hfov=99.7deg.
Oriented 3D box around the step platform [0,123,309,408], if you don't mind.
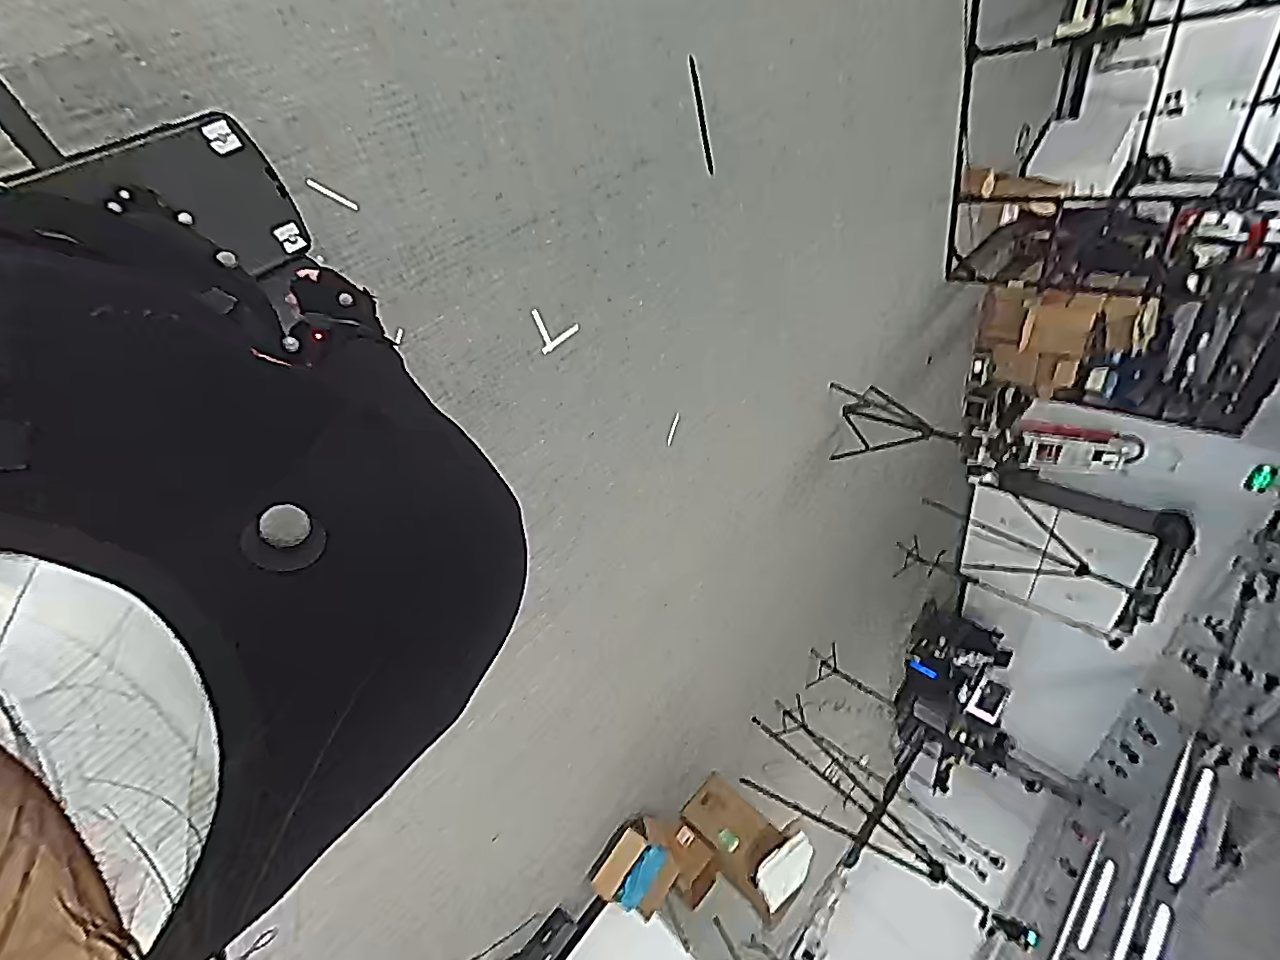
[{"bbox_3d":[-1.044,-0.434,1.060,0.684,0.204,0.286,-43,136,-24],"label":"step platform"}]
